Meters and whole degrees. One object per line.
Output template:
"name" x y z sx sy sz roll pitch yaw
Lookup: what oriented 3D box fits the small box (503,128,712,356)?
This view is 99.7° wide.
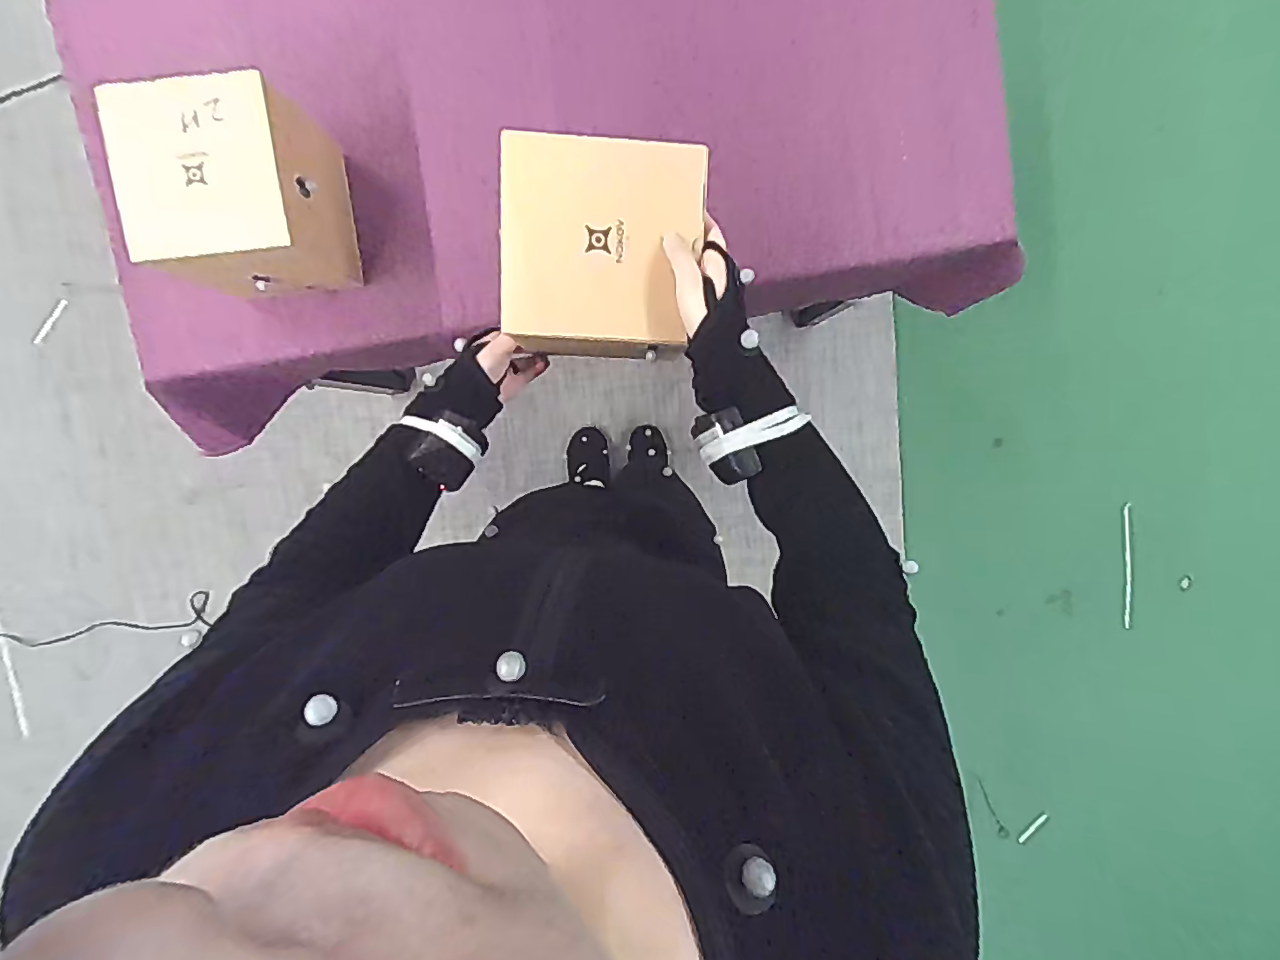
"small box" -0.033 -0.218 0.540 0.179 0.176 0.168 1 97 -5

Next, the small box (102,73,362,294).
"small box" -0.451 -0.325 0.631 0.168 0.176 0.179 -7 96 -2
